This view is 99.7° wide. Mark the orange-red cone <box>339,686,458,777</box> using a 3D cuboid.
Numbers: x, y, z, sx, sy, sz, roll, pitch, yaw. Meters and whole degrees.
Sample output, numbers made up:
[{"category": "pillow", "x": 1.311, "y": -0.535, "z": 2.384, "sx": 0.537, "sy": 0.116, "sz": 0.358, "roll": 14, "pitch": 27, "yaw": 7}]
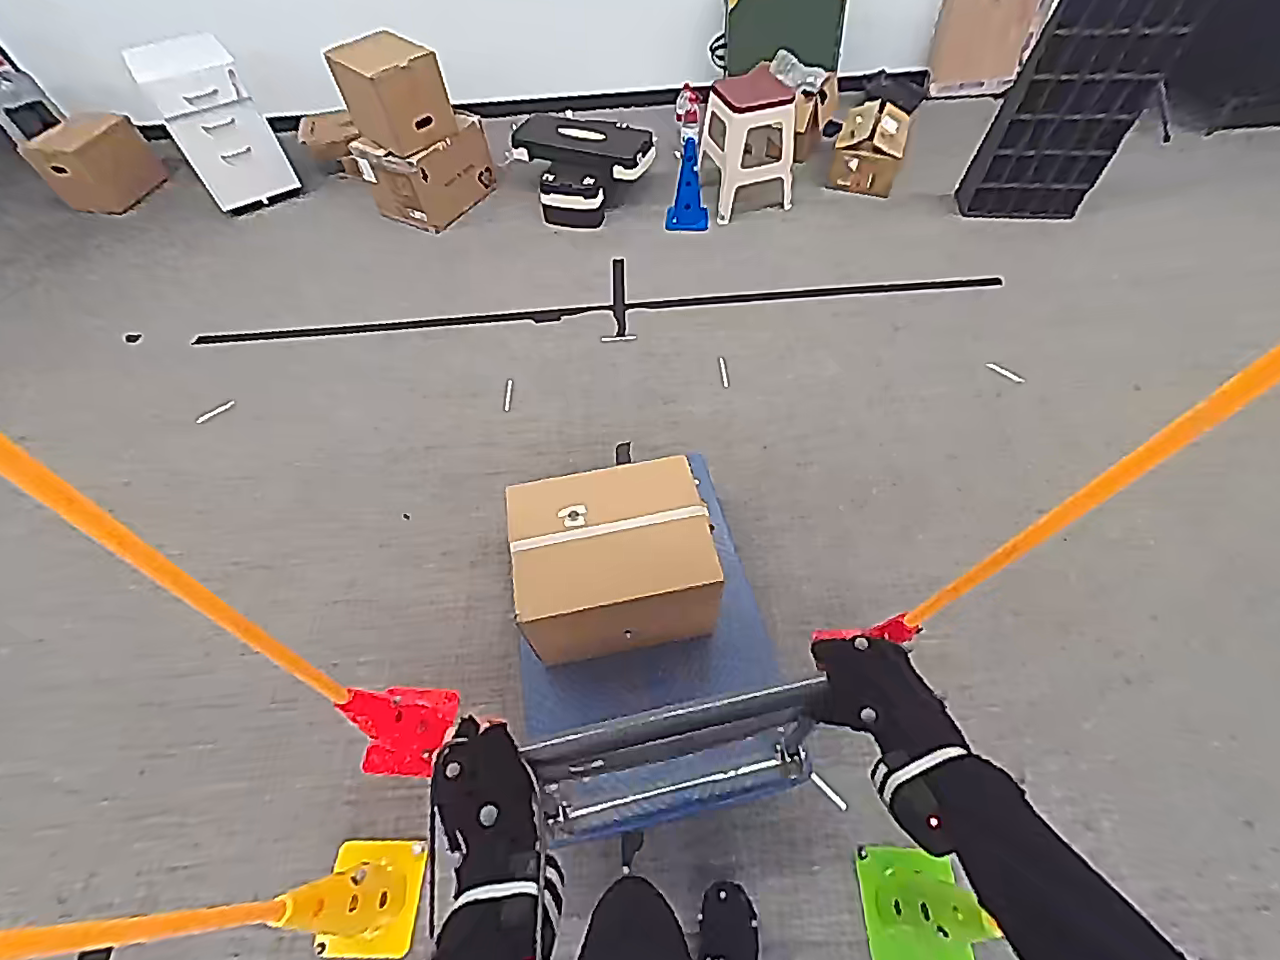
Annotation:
[{"category": "orange-red cone", "x": -0.573, "y": 0.522, "z": 1.206, "sx": 0.198, "sy": 0.360, "sz": 0.199, "roll": 3, "pitch": 54, "yaw": 4}]

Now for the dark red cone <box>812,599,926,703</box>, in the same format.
[{"category": "dark red cone", "x": 0.551, "y": 0.369, "z": 1.237, "sx": 0.201, "sy": 0.394, "sz": 0.202, "roll": -3, "pitch": 56, "yaw": -2}]

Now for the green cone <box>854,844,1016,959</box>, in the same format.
[{"category": "green cone", "x": 0.555, "y": 0.778, "z": 0.976, "sx": 0.202, "sy": 0.368, "sz": 0.200, "roll": 0, "pitch": 55, "yaw": 1}]

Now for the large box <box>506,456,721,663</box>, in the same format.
[{"category": "large box", "x": -0.059, "y": 0.189, "z": 1.234, "sx": 0.408, "sy": 0.320, "sz": 0.320, "roll": -11, "pitch": 56, "yaw": -4}]
